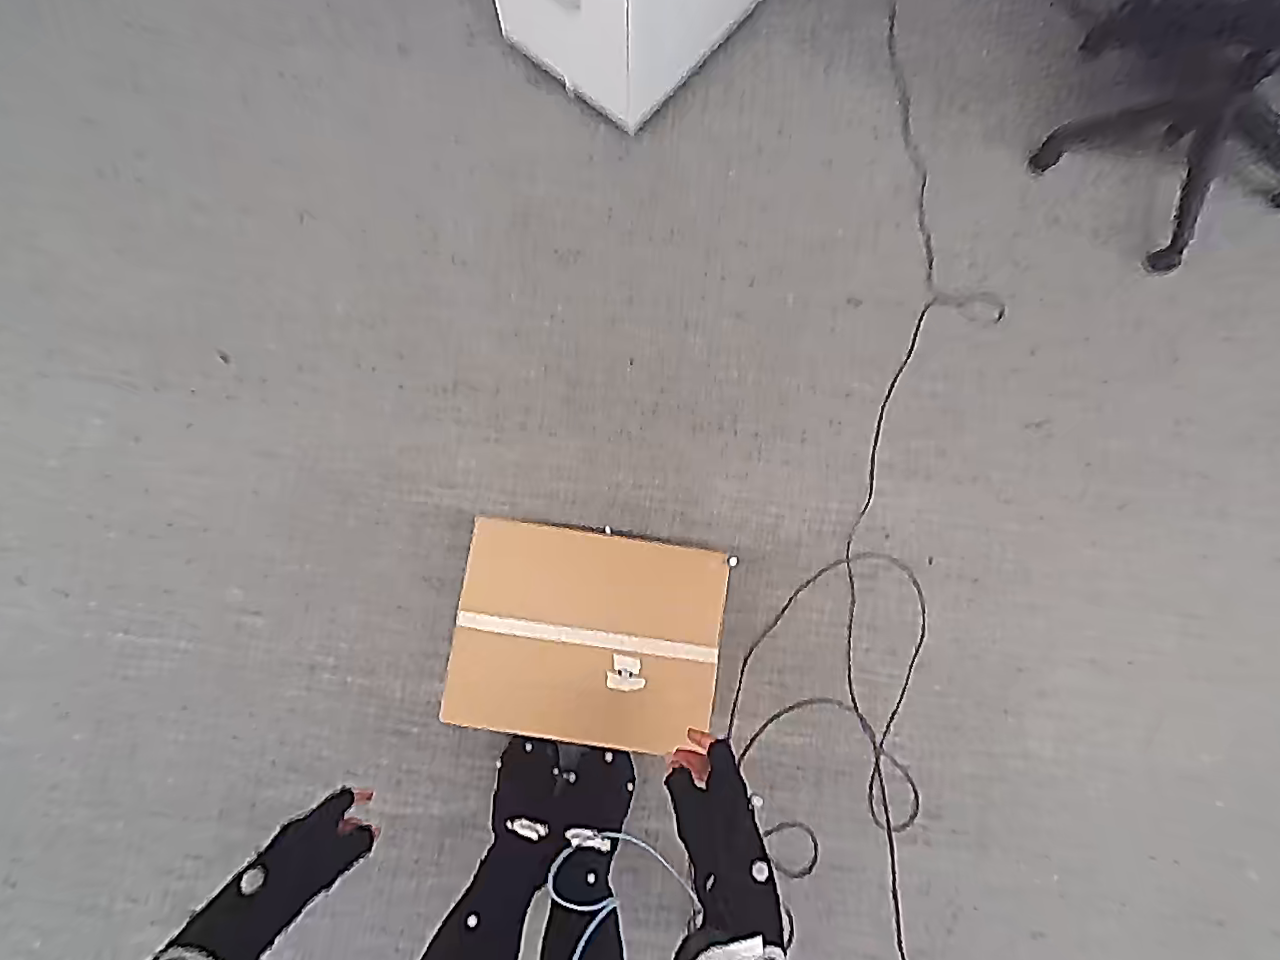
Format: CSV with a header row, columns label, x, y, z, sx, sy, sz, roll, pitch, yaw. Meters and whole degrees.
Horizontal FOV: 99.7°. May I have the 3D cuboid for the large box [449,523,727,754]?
label,x,y,z,sx,sy,sz,roll,pitch,yaw
large box,-0.083,0.267,0.991,0.408,0.320,0.320,9,82,-1
